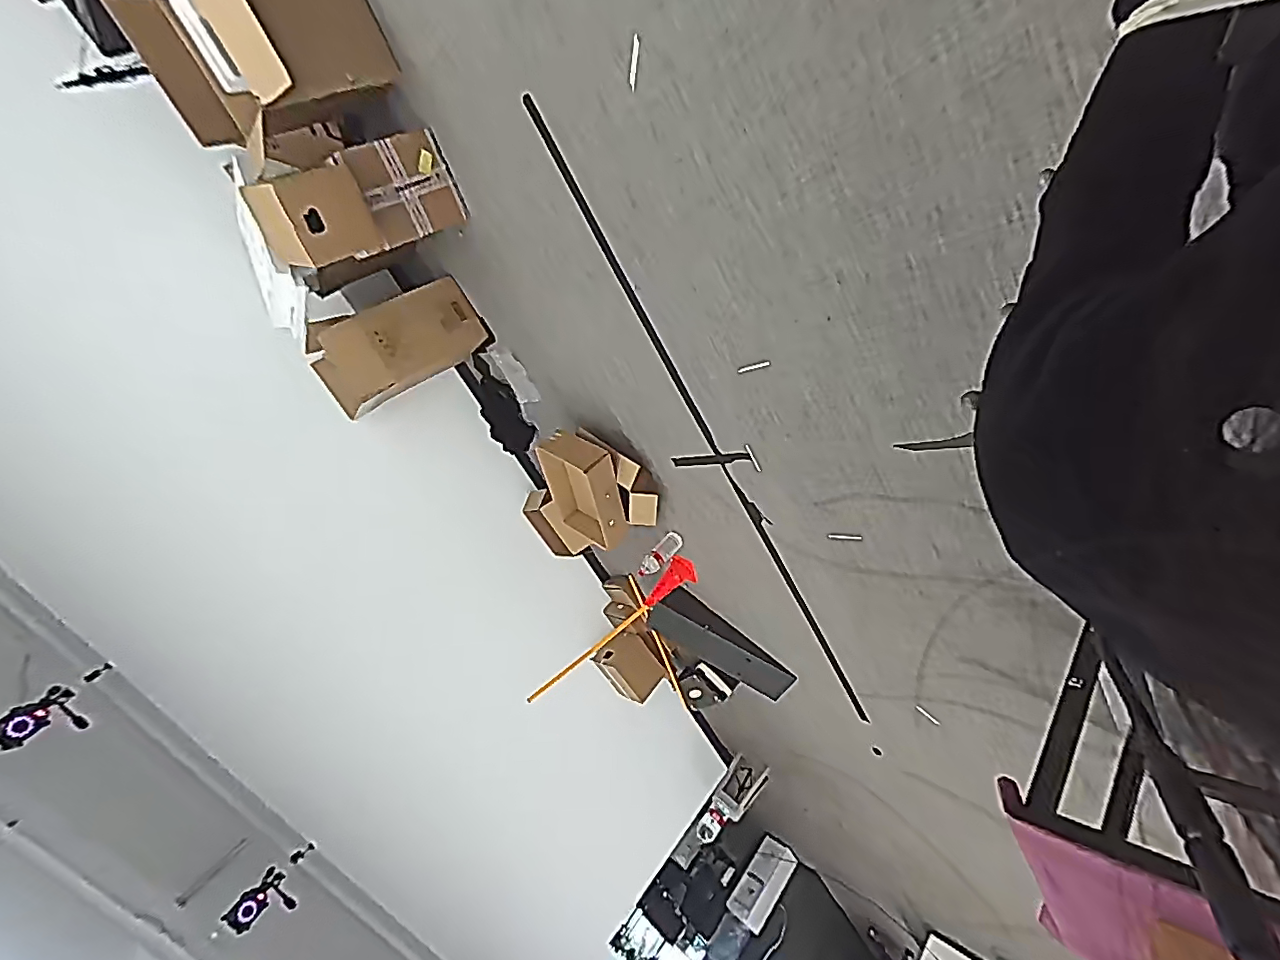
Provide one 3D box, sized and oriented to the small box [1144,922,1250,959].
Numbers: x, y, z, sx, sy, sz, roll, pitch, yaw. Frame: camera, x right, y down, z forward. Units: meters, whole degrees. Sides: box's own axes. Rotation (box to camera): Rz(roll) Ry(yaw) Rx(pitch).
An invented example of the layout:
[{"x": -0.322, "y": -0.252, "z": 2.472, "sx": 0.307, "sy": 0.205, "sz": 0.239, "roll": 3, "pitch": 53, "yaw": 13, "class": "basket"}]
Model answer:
[{"x": 1.157, "y": 1.058, "z": 1.103, "sx": 0.179, "sy": 0.176, "sz": 0.168, "roll": -1, "pitch": 126, "yaw": 54, "class": "small box"}]
